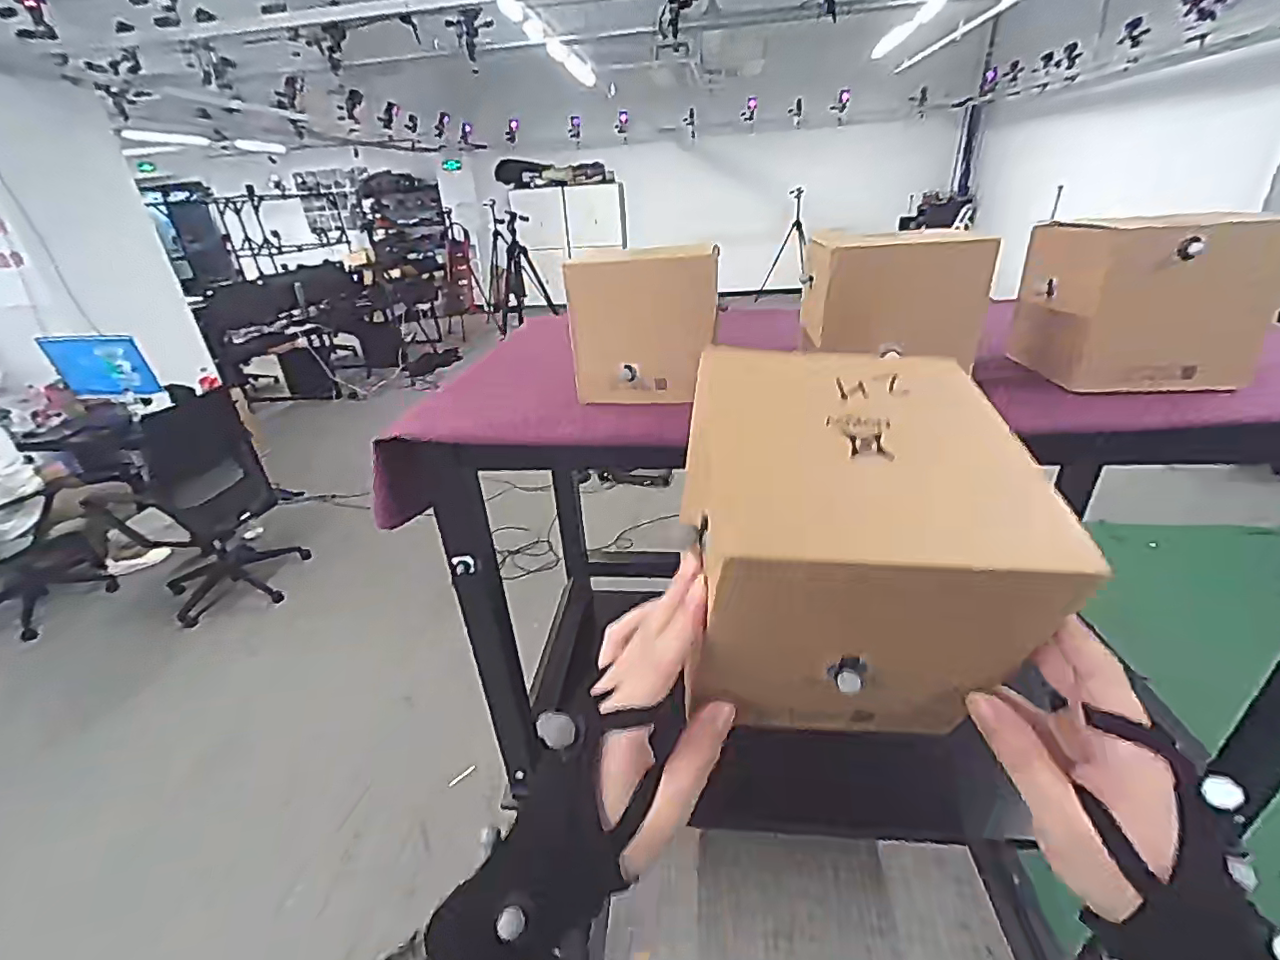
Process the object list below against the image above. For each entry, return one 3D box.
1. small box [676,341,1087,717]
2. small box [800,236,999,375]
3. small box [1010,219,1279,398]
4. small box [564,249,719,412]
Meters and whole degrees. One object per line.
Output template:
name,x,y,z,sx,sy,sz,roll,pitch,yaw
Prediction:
small box,0.112,0.032,0.345,0.168,0.176,0.179,3,44,1
small box,0.288,-0.193,0.648,0.168,0.176,0.179,0,28,9
small box,0.560,-0.198,0.617,0.168,0.176,0.179,0,26,10
small box,0.013,-0.194,0.689,0.168,0.176,0.179,1,28,11
